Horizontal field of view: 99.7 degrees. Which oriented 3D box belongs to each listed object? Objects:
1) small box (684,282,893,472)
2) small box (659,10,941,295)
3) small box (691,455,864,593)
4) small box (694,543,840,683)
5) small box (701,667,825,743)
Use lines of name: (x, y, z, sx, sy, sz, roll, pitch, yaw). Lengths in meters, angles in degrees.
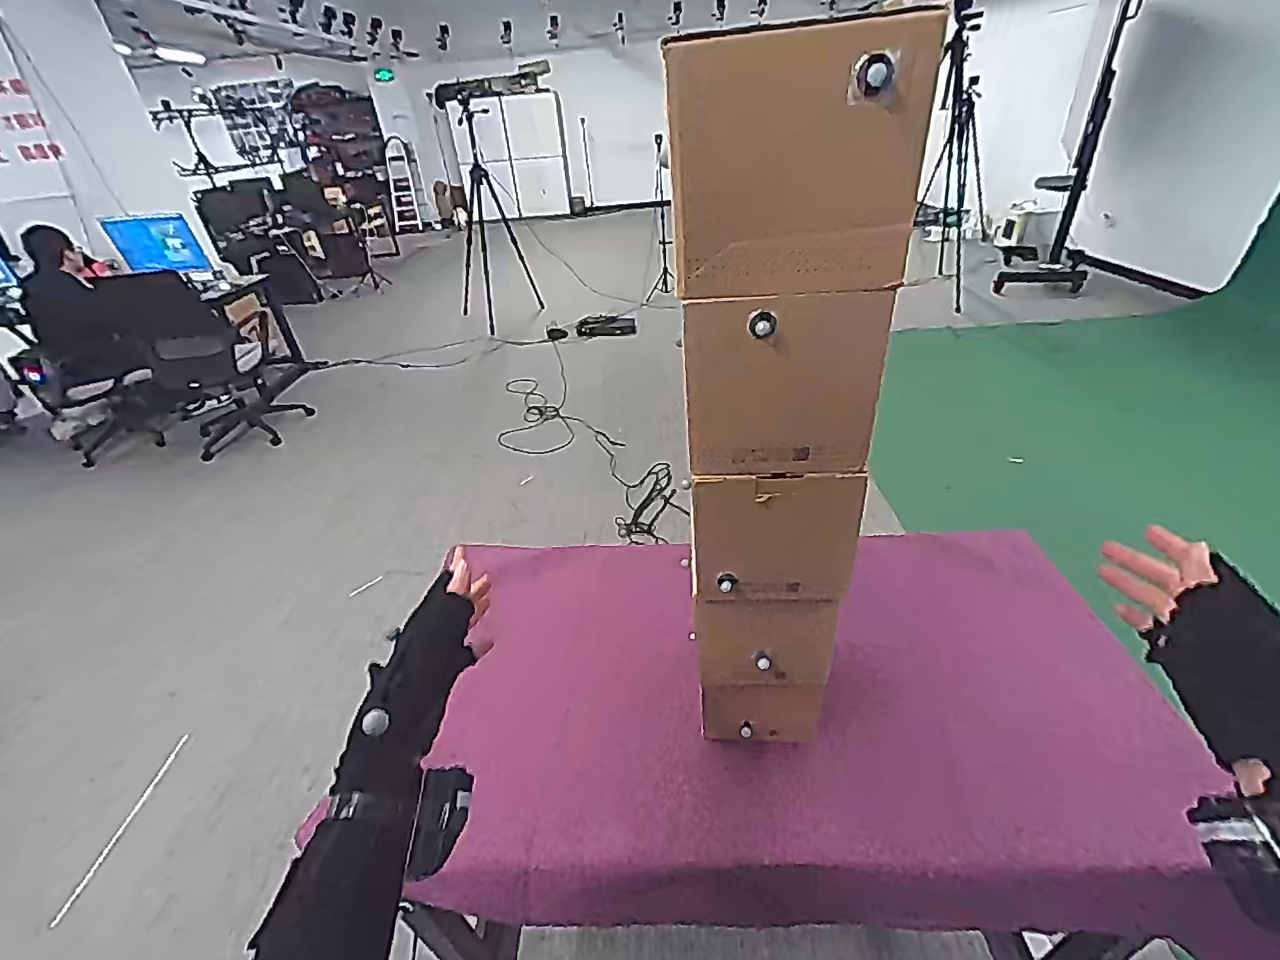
small box: (0.132, -0.123, 0.539, 0.168, 0.176, 0.179, -1, 33, 8)
small box: (0.116, -0.256, 0.447, 0.179, 0.176, 0.168, 1, 35, 9)
small box: (0.146, 0.015, 0.626, 0.168, 0.176, 0.179, -2, 34, 7)
small box: (0.158, 0.145, 0.726, 0.168, 0.176, 0.179, -3, 34, 7)
small box: (0.177, 0.271, 0.830, 0.168, 0.176, 0.179, -1, 35, 8)
